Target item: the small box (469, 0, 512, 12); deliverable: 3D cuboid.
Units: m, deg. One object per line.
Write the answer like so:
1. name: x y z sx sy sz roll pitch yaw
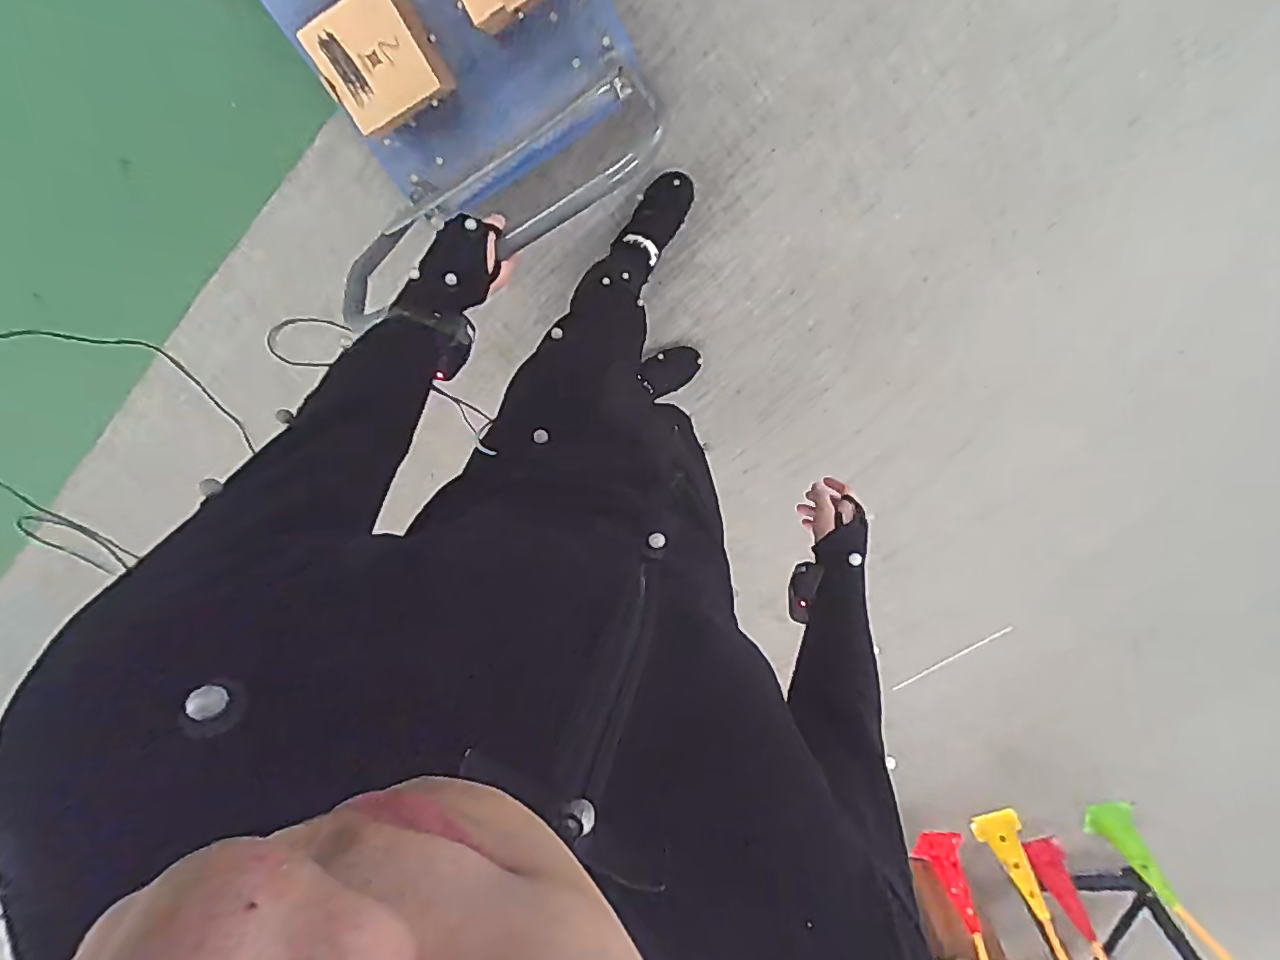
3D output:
1. small box: -0.248 -0.922 0.895 0.168 0.176 0.179 -24 127 13
